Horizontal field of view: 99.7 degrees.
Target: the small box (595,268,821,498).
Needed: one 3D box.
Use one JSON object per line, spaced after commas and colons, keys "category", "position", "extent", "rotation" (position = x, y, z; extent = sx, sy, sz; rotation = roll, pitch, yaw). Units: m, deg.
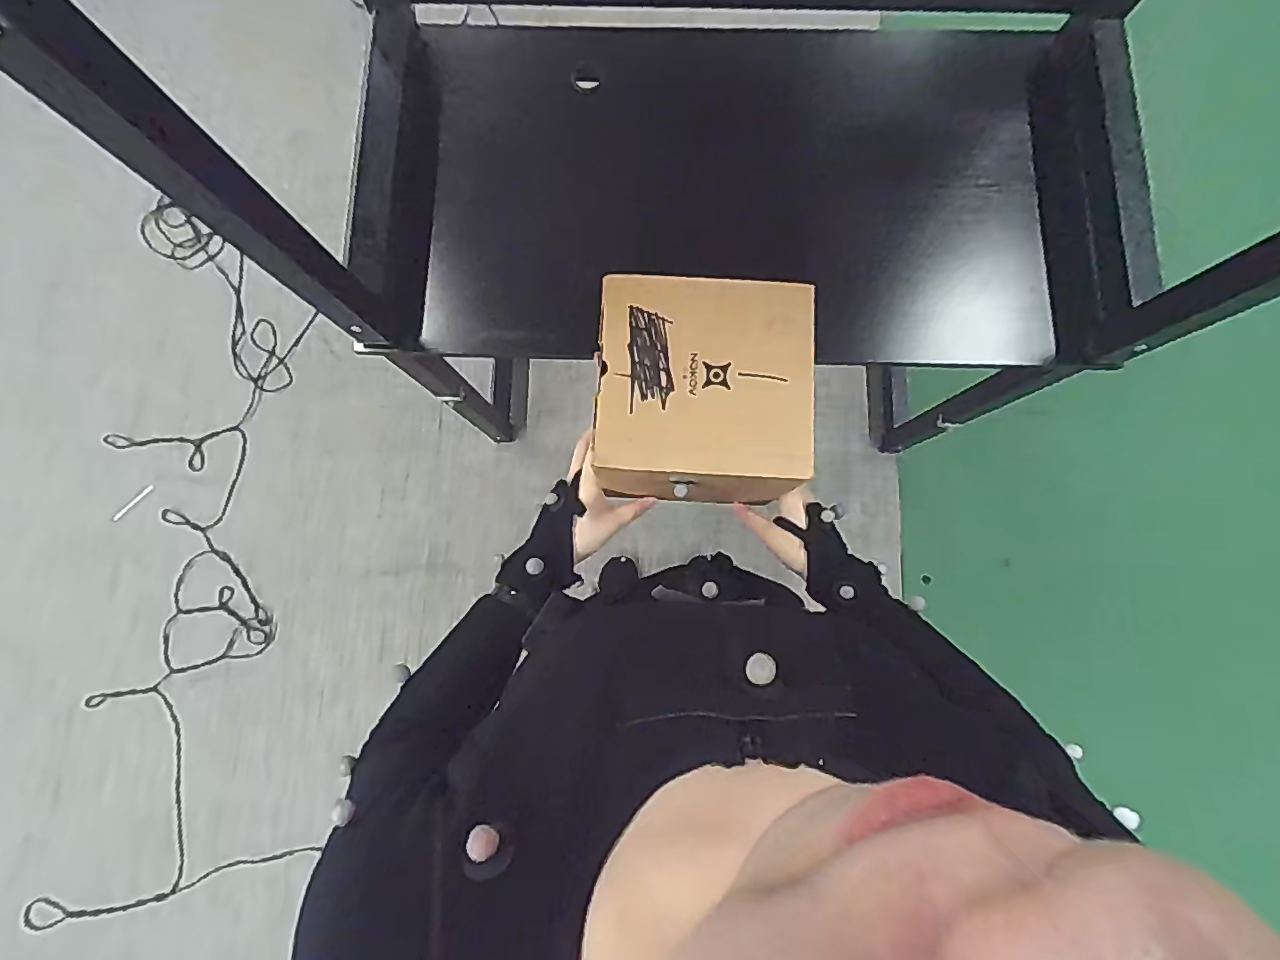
{"category": "small box", "position": [0.056, -0.076, 0.510], "extent": [0.179, 0.176, 0.168], "rotation": [4, 81, 0]}
